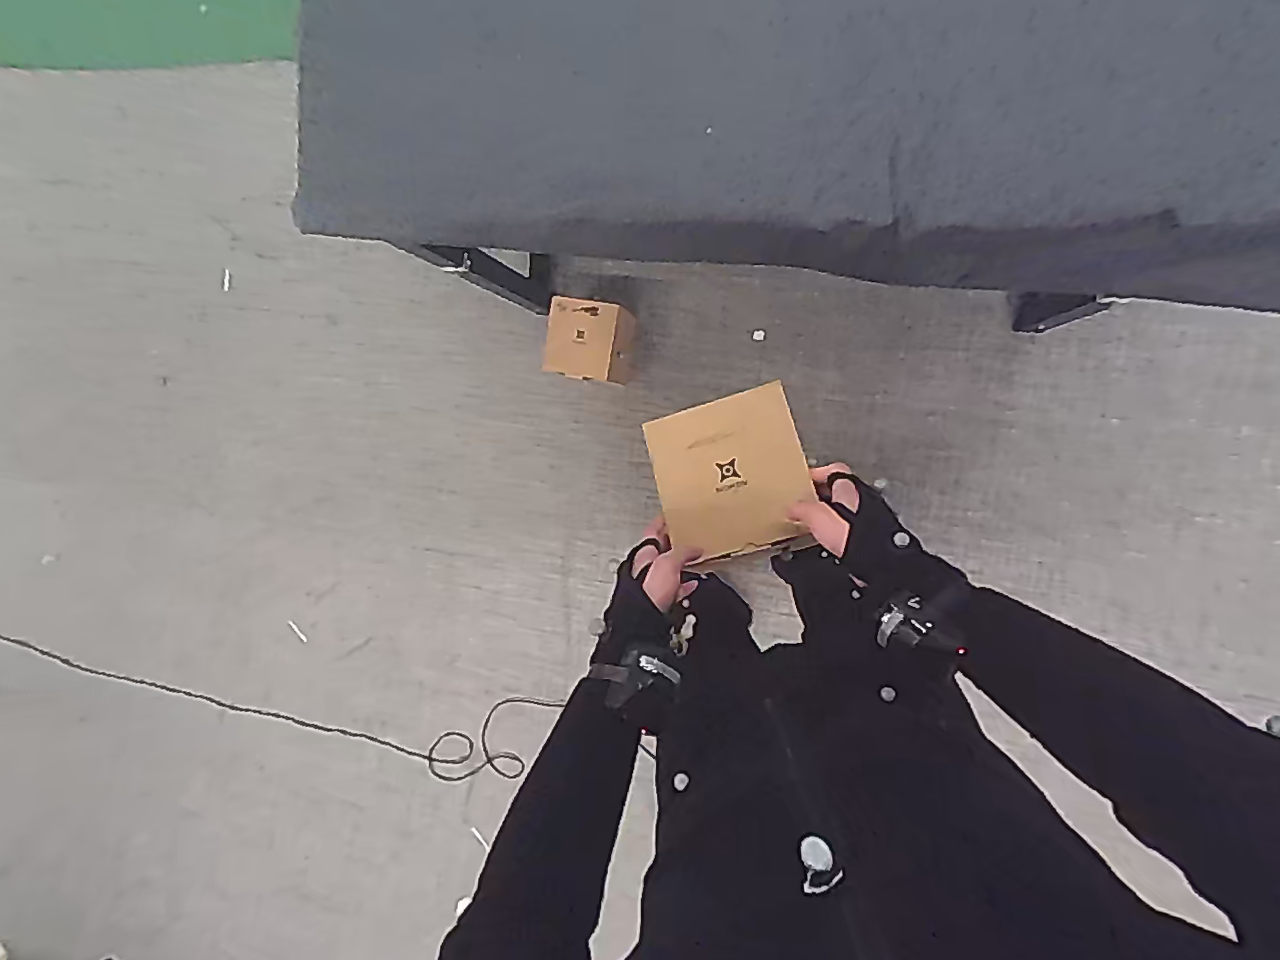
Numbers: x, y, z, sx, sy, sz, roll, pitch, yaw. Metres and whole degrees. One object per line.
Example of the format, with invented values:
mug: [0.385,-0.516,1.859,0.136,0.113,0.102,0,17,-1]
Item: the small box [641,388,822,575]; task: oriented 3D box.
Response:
small box: [0.117,0.016,0.669,0.168,0.176,0.179,-17,73,11]
